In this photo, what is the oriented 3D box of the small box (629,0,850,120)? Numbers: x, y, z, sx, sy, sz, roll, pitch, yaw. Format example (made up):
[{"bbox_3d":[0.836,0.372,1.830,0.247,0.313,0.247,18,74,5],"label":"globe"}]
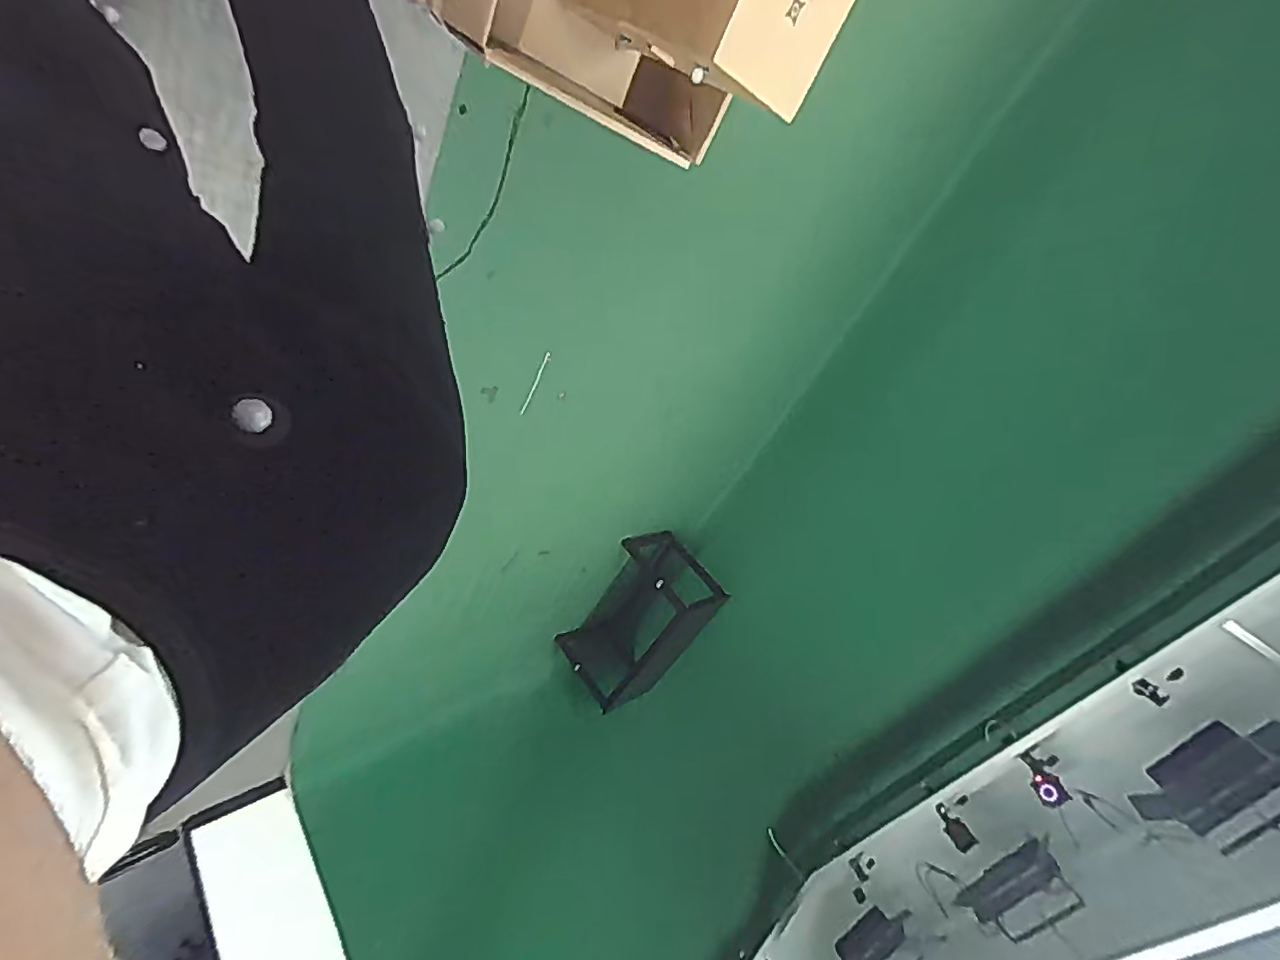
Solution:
[{"bbox_3d":[0.111,-0.551,0.601,0.168,0.176,0.179,-7,136,-46],"label":"small box"}]
